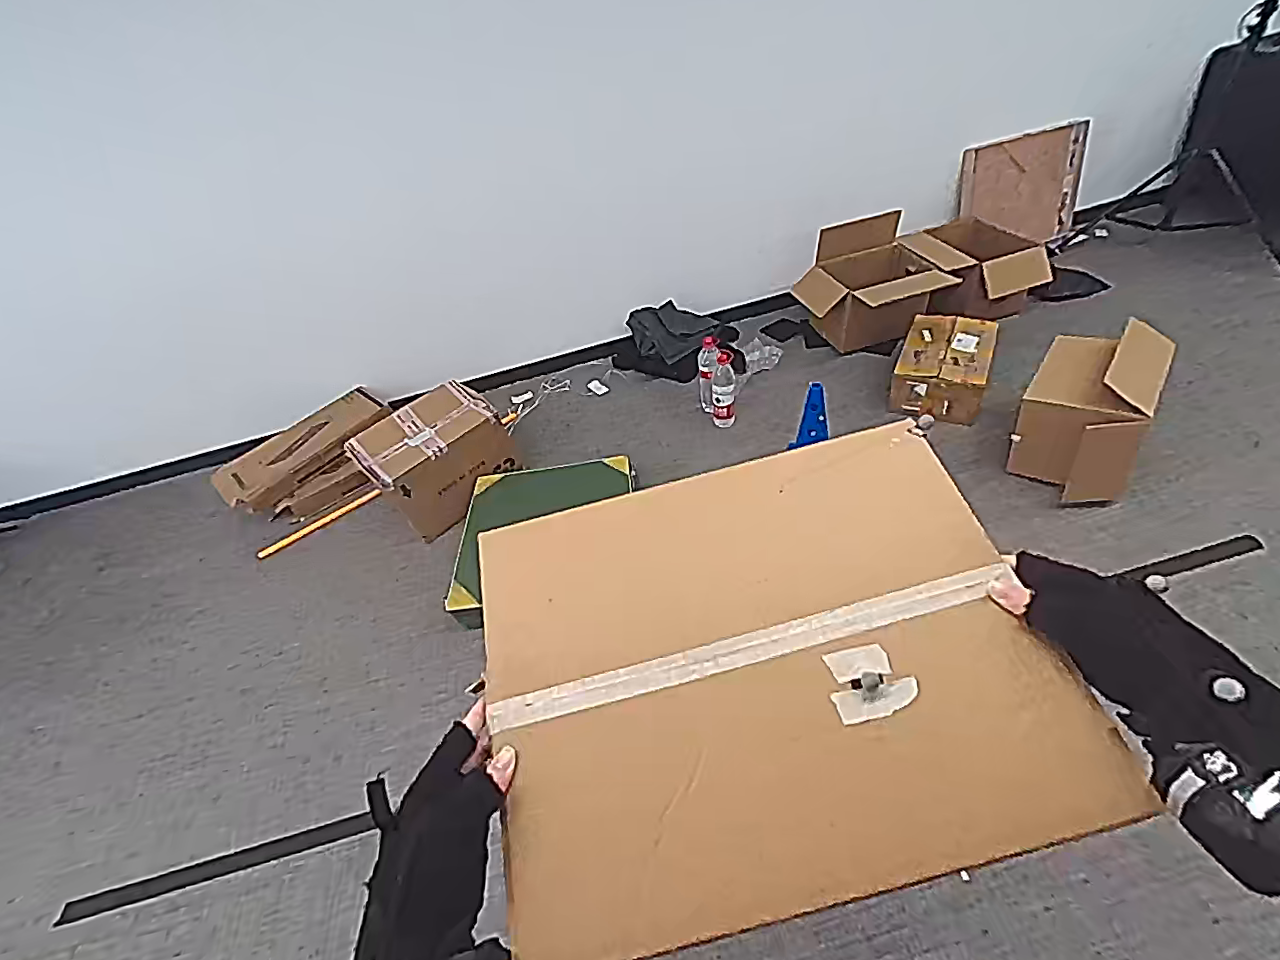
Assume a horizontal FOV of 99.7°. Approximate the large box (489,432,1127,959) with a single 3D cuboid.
[{"bbox_3d":[0.105,0.209,0.544,0.408,0.320,0.320,-15,59,-2],"label":"large box"}]
